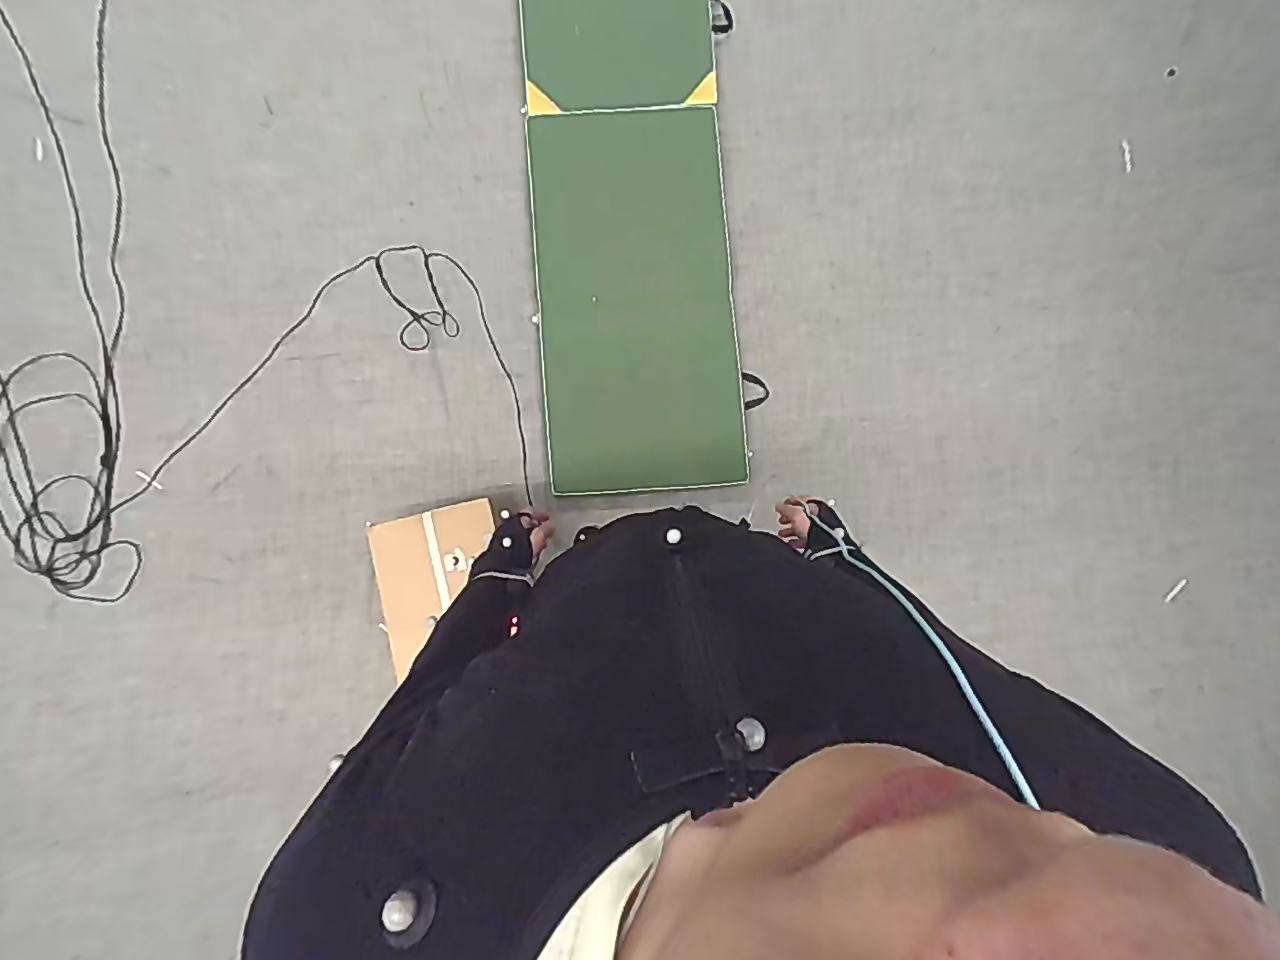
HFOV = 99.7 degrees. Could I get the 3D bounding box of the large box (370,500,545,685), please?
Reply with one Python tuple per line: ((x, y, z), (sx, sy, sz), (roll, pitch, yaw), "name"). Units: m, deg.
((-0.480, 0.291, 1.489), (0.320, 0.320, 0.408), (-14, 85, -2), "large box")
